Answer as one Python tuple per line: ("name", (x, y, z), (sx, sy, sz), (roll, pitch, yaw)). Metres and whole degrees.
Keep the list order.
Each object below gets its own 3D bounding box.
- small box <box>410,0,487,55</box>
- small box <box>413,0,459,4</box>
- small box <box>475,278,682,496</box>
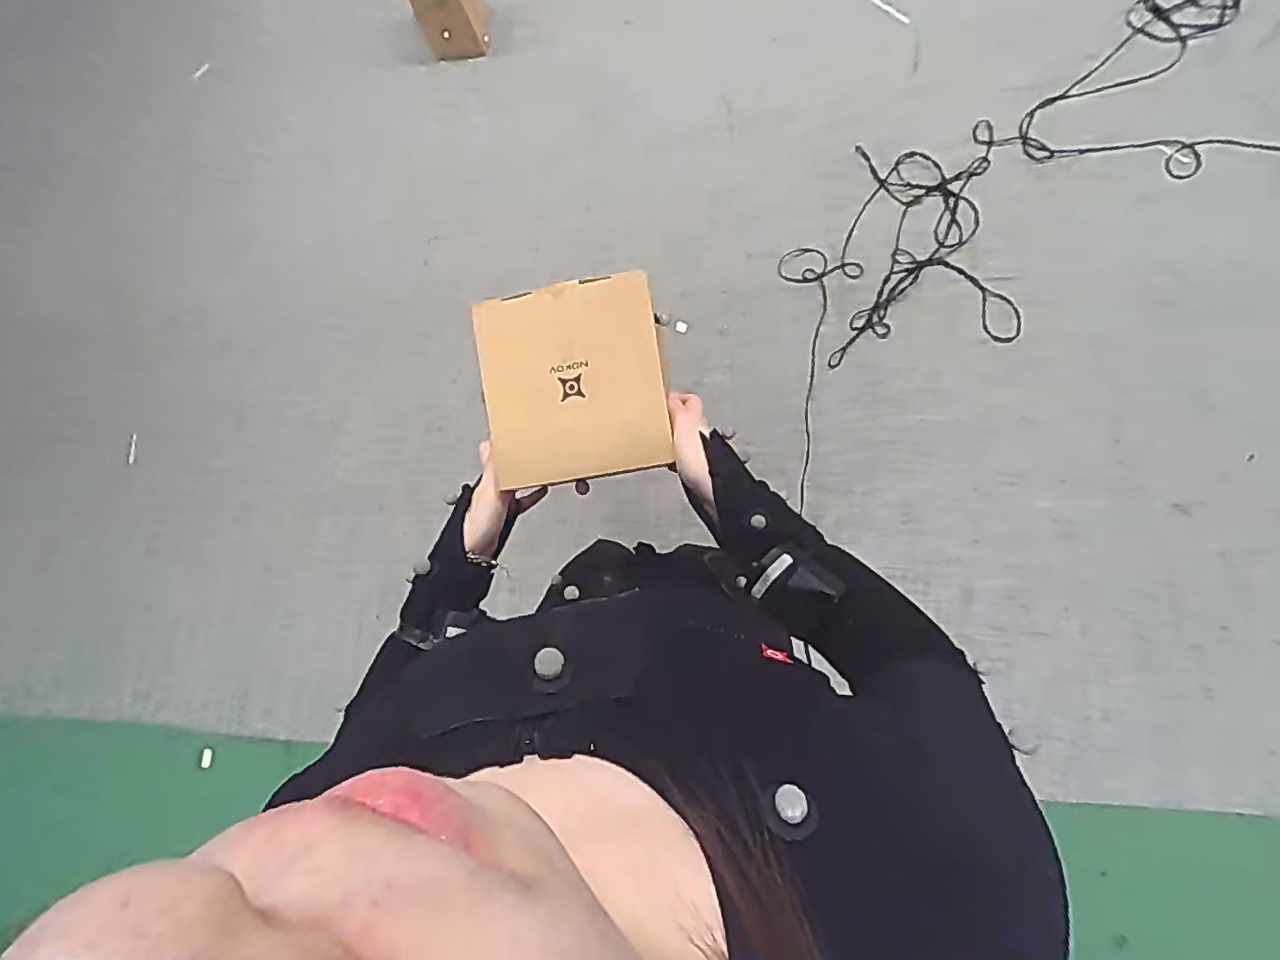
("small box", (-0.613, -1.523, 1.748), (0.179, 0.176, 0.168), (1, 83, 9))
("small box", (-0.630, -1.546, 1.586), (0.168, 0.176, 0.179), (2, 83, 8))
("small box", (-0.050, -0.084, 0.566), (0.168, 0.176, 0.179), (-9, 89, 6))
